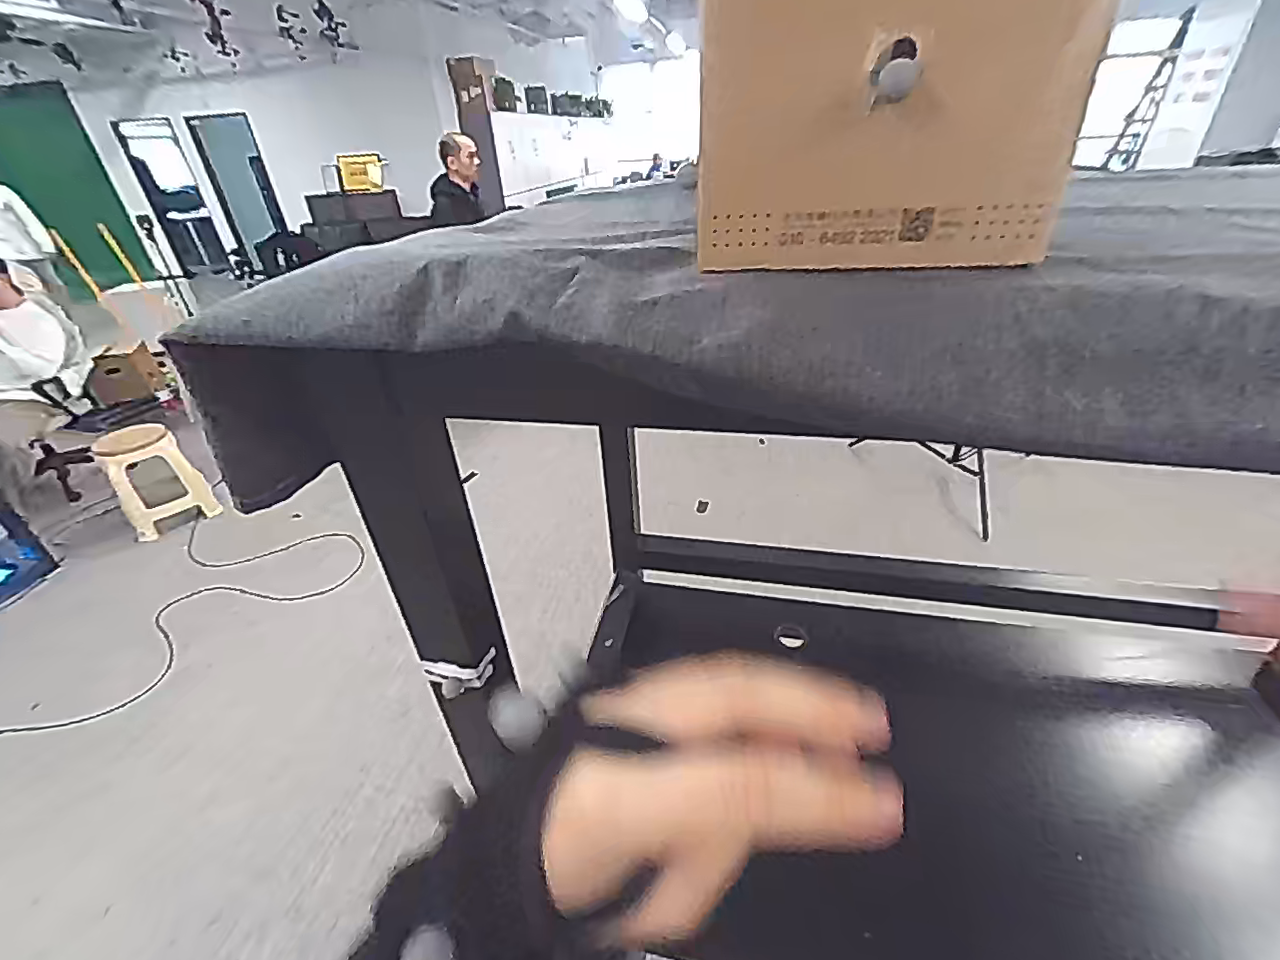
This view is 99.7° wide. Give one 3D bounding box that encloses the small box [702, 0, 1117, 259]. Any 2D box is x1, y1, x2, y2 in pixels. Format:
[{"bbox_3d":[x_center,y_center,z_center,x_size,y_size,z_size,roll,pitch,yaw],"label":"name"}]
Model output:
[{"bbox_3d":[0.121,-0.221,0.293,0.168,0.176,0.179,3,32,8],"label":"small box"}]
